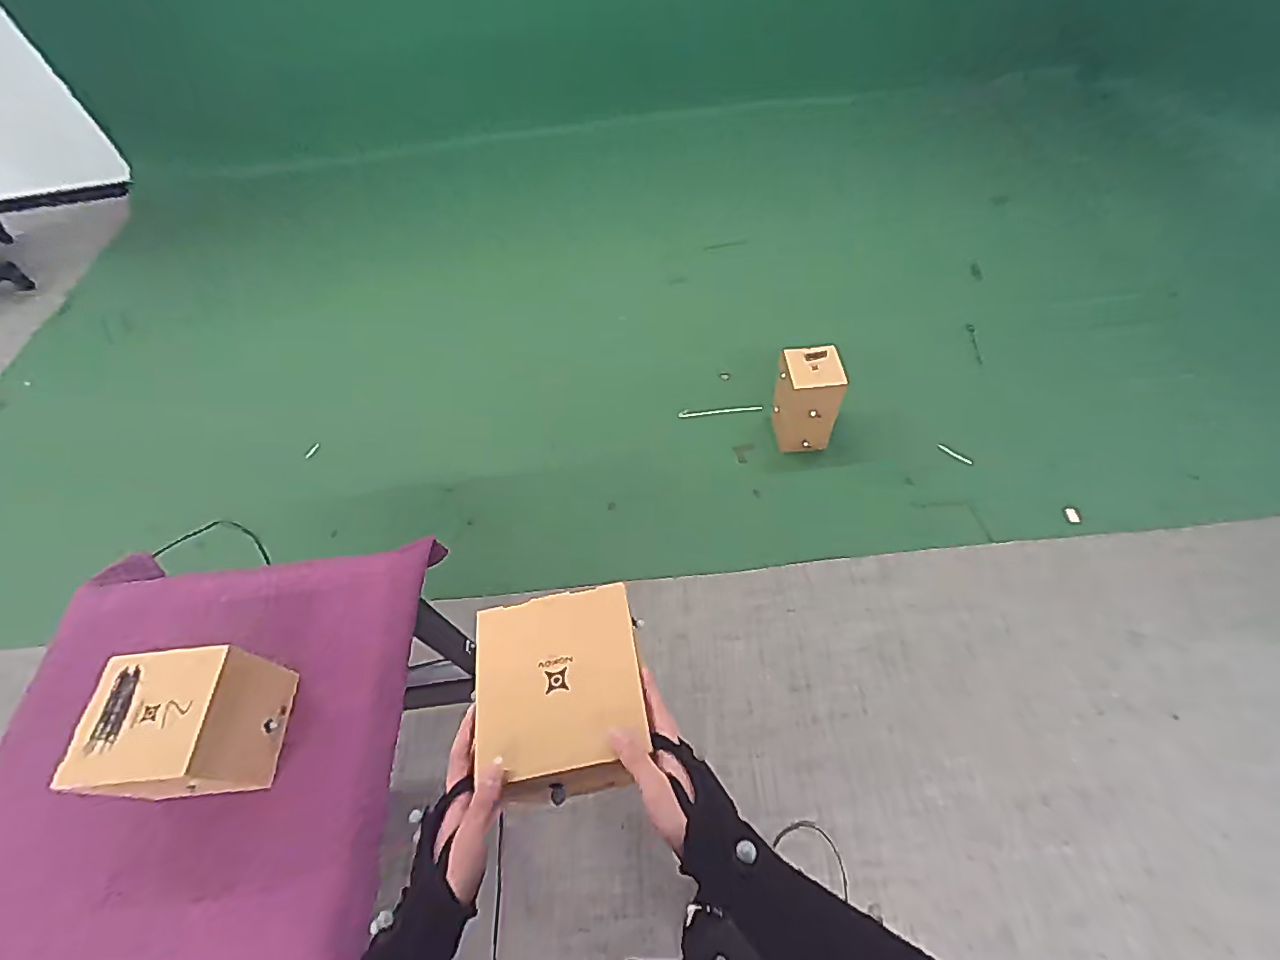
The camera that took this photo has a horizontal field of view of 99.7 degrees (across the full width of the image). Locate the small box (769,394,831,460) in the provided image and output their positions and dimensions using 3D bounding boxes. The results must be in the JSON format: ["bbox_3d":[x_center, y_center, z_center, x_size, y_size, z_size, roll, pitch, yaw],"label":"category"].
[{"bbox_3d":[0.558,-0.192,1.910,0.168,0.176,0.179,-4,55,2],"label":"small box"}]

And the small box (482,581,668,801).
[{"bbox_3d":[-0.067,0.239,0.597,0.168,0.176,0.179,-11,53,-2],"label":"small box"}]

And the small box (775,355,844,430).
[{"bbox_3d":[0.547,-0.285,1.776,0.168,0.176,0.179,-5,56,2],"label":"small box"}]
